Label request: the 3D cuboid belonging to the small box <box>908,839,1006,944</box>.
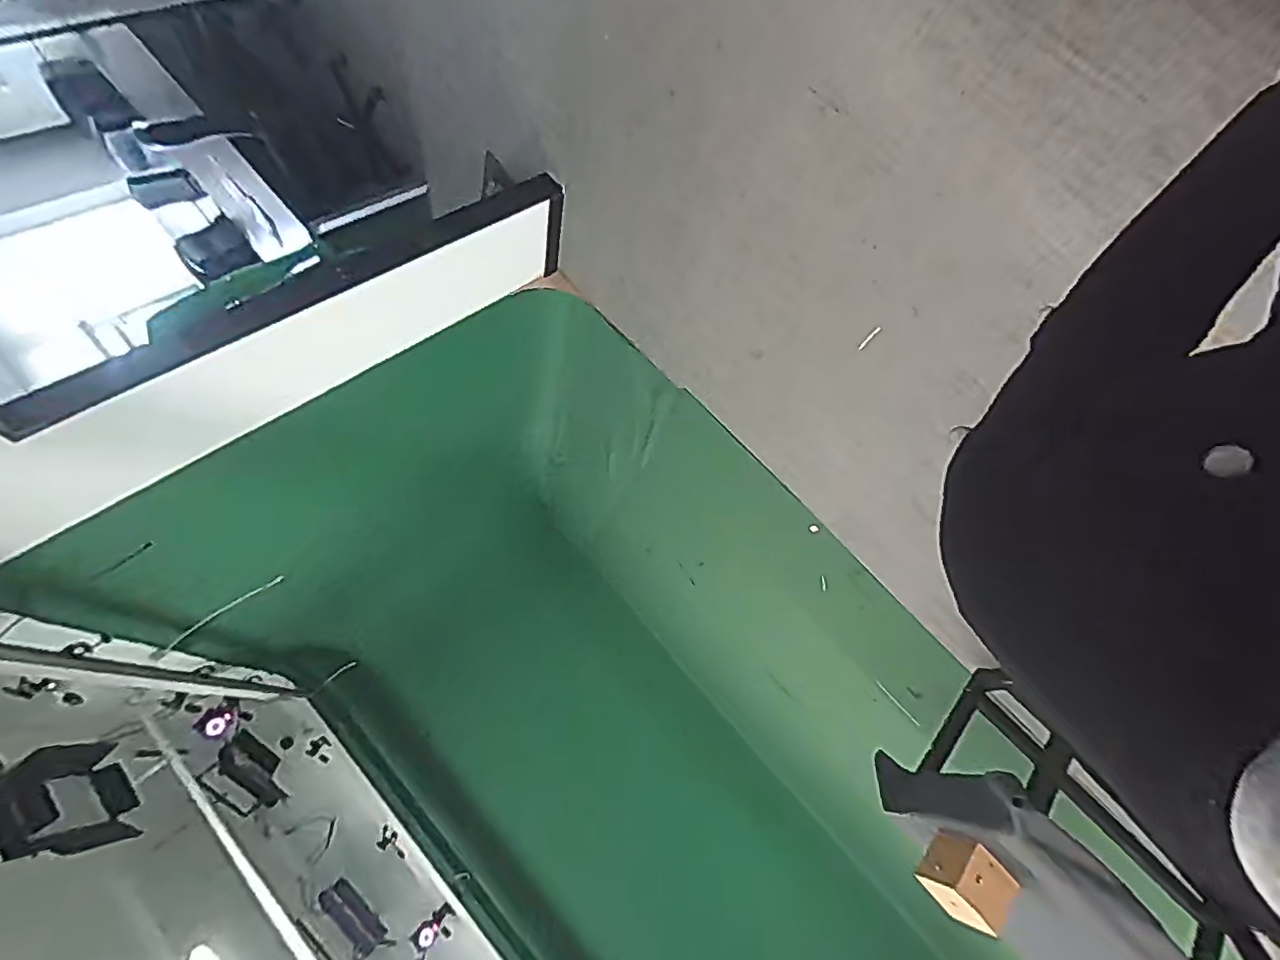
[{"bbox_3d":[0.967,1.235,1.640,0.168,0.176,0.179,49,155,8],"label":"small box"}]
